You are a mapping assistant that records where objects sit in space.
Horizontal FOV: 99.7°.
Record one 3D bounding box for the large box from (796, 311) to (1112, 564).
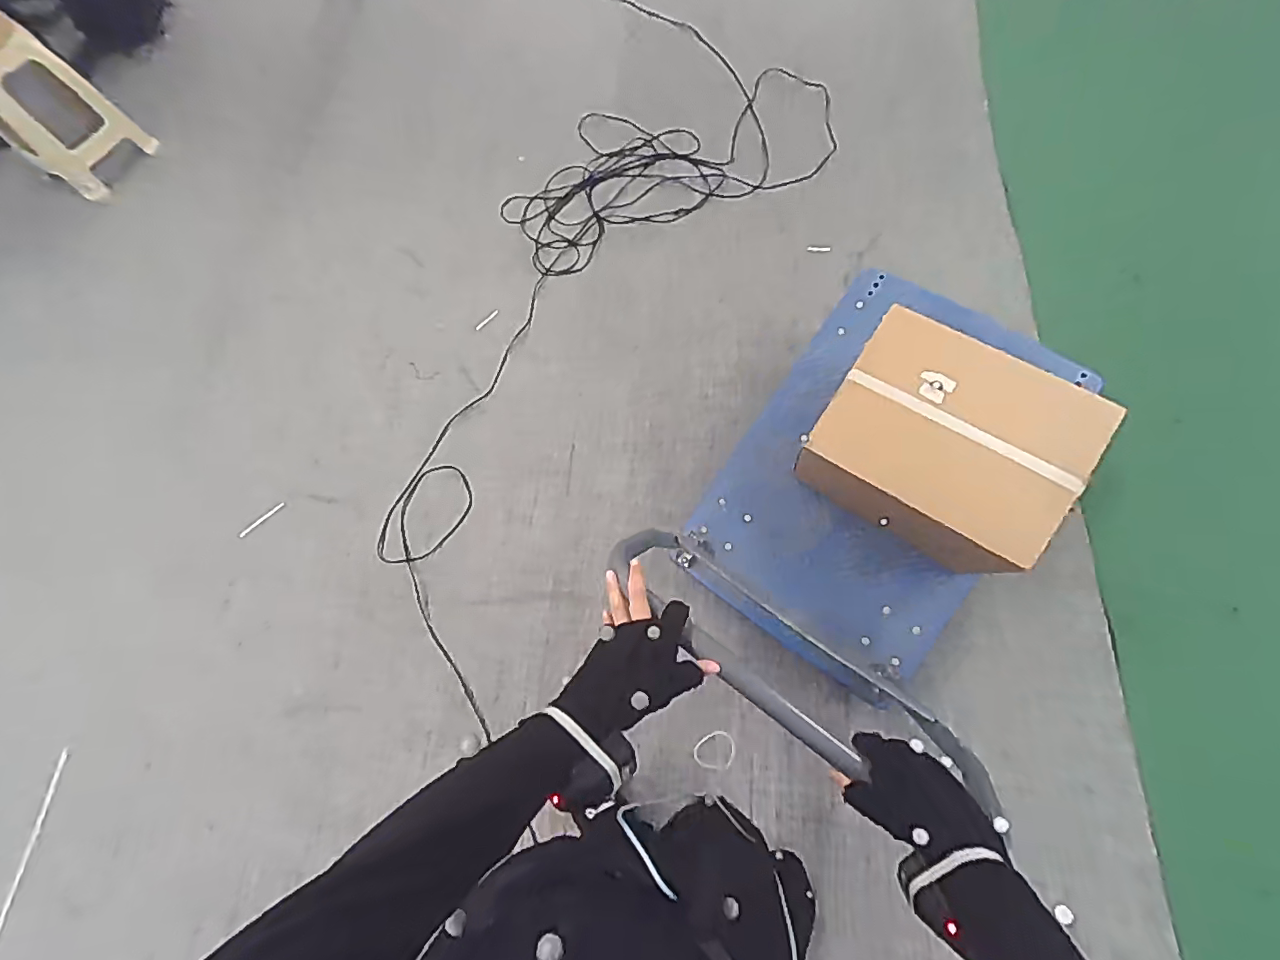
[{"bbox_3d":[0.570,-0.063,1.078,0.408,0.320,0.320,31,87,17],"label":"large box"}]
